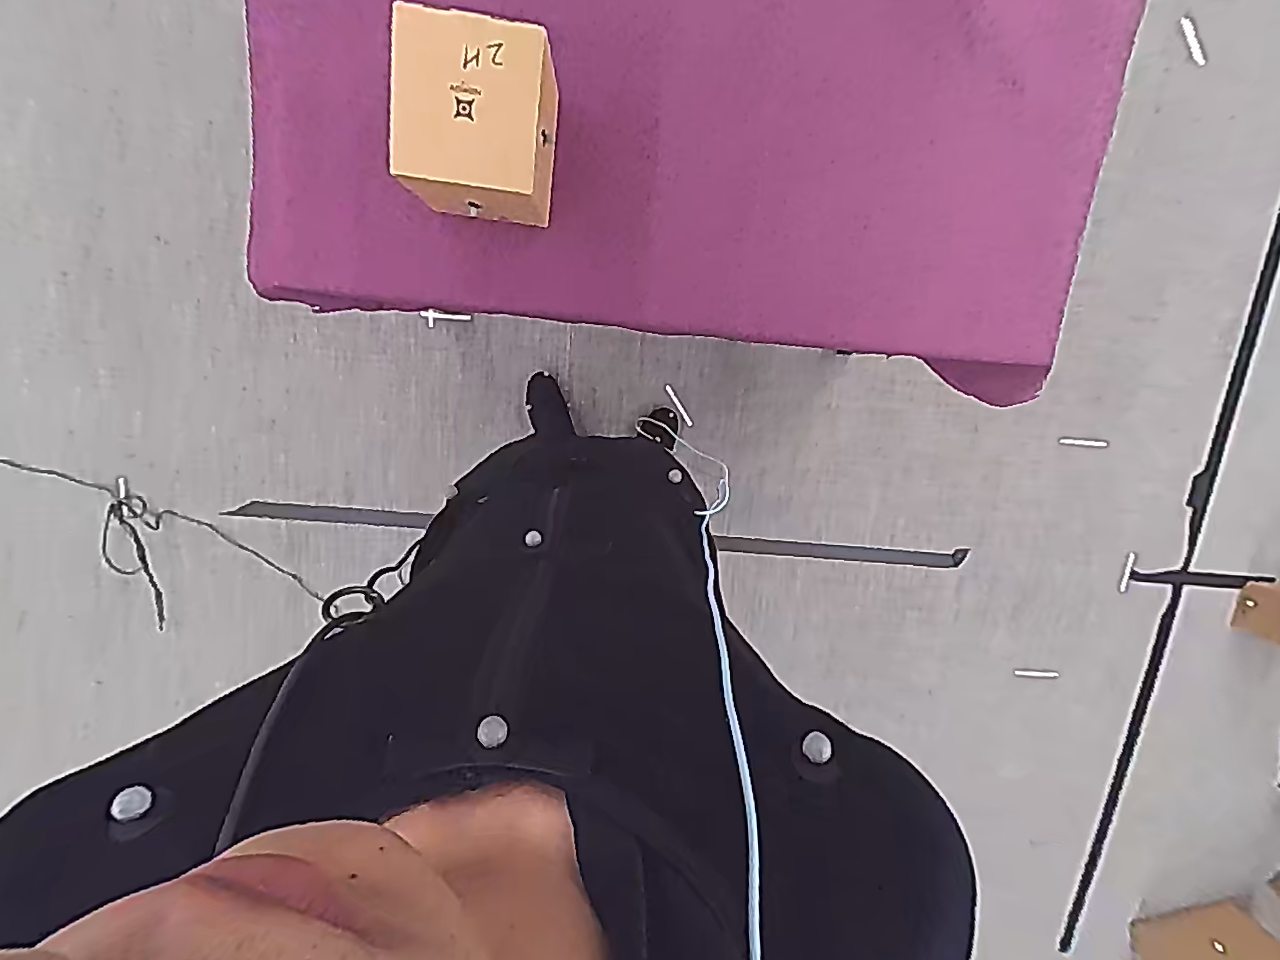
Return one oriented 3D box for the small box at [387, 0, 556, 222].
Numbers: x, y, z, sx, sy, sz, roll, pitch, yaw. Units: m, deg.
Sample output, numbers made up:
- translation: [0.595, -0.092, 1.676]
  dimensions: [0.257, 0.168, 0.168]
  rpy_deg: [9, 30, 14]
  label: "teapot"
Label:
- translation: [-0.201, -0.443, 0.681]
  dimensions: [0.168, 0.176, 0.179]
  rpy_deg: [7, 103, -5]
  label: "small box"
